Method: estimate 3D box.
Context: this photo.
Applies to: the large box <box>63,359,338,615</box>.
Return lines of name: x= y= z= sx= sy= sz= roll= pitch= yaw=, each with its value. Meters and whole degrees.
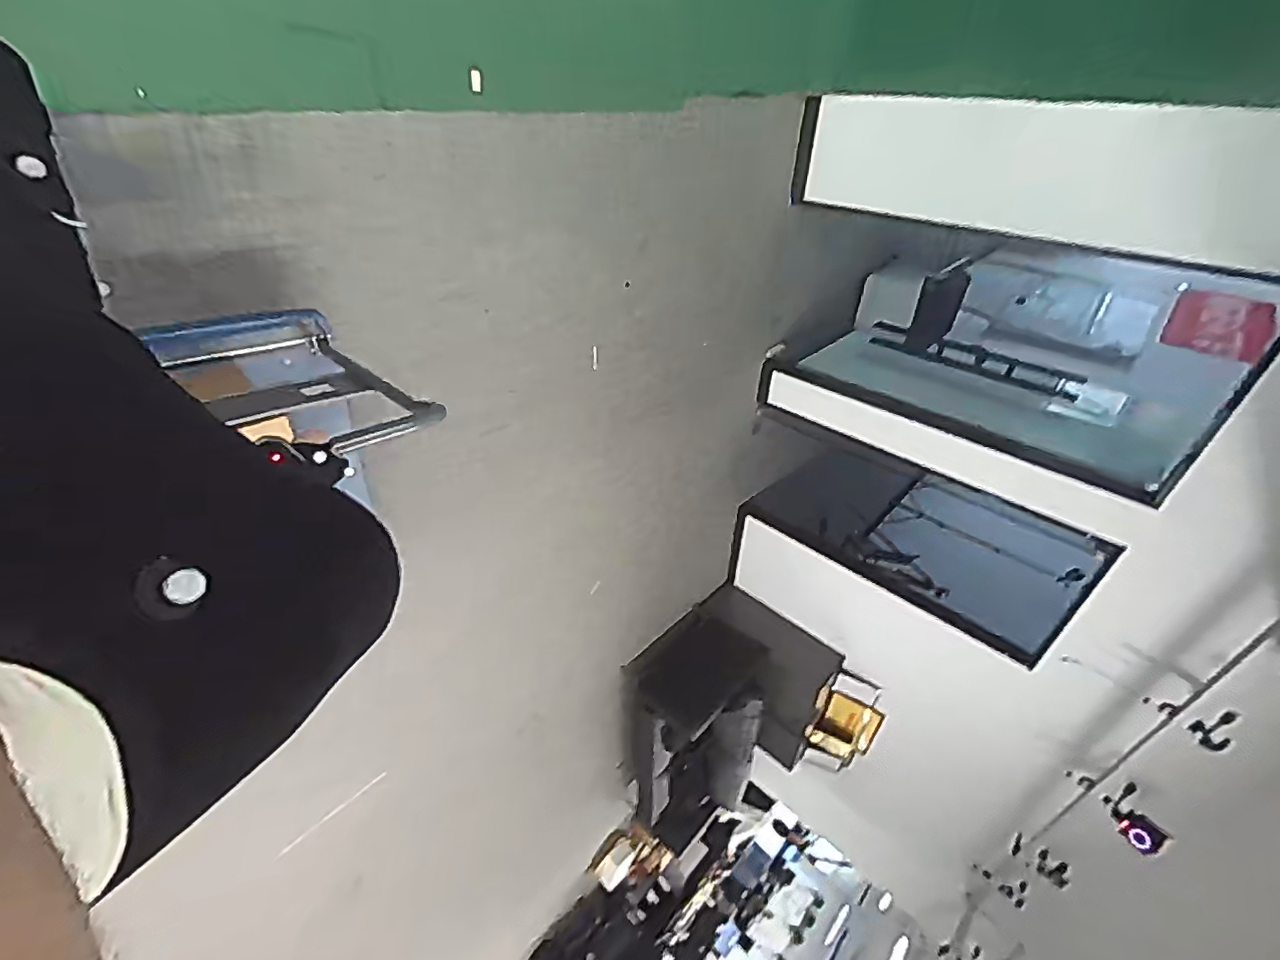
large box: x=-0.932 y=0.001 z=1.182 sx=0.320 sy=0.320 sz=0.408 roll=-28 pitch=137 yaw=-38
